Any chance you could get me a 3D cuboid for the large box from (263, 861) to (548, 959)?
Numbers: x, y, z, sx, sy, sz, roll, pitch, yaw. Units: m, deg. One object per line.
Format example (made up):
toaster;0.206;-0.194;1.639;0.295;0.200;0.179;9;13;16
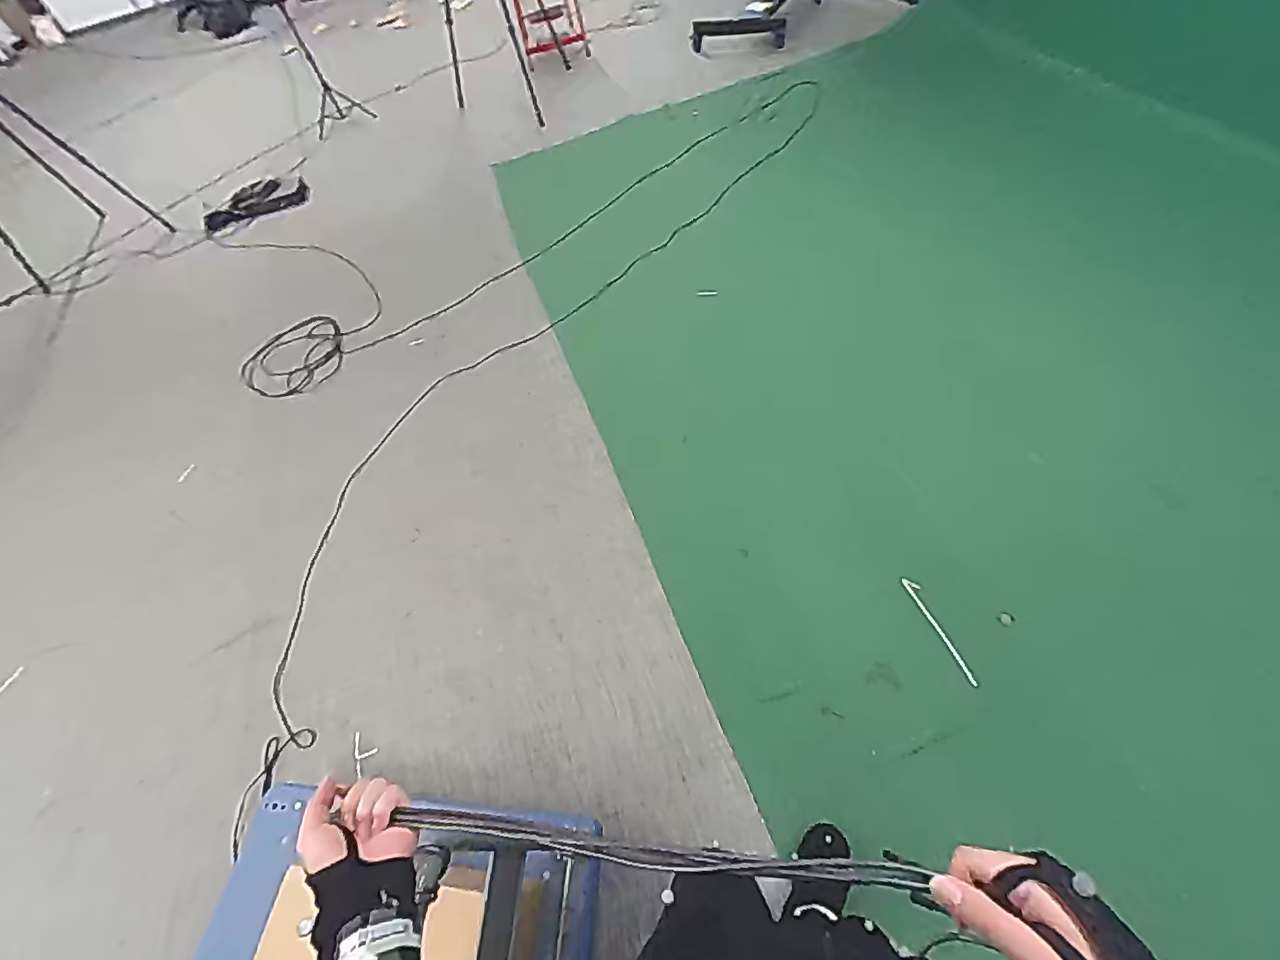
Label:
large box;-0.423;0.914;0.997;0.408;0.320;0.320;-1;56;11
